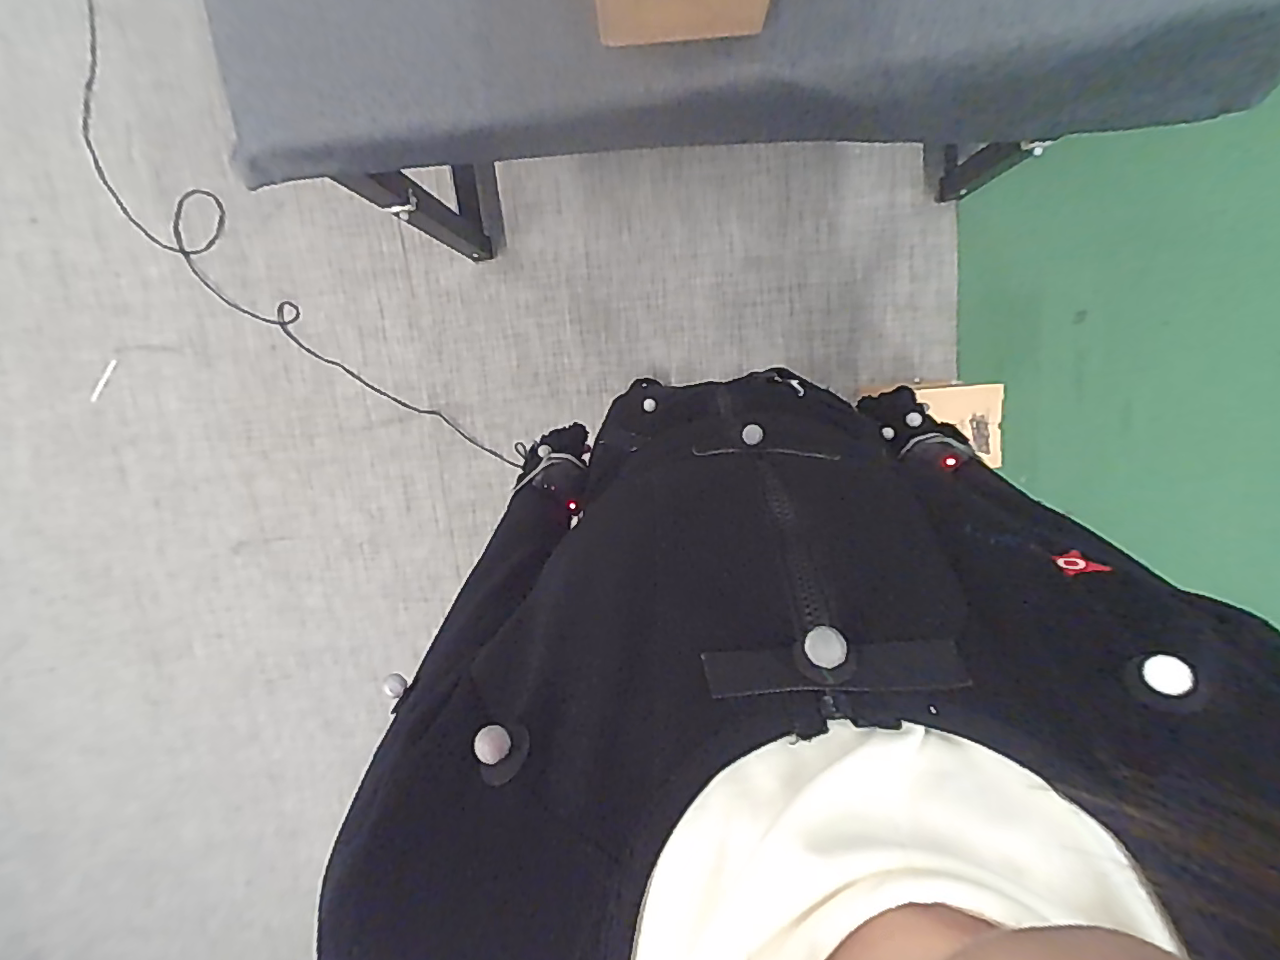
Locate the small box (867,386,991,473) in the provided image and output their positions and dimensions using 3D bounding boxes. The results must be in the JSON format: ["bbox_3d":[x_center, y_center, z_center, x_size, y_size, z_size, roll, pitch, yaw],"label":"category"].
[{"bbox_3d":[0.600,-0.111,1.142,0.179,0.176,0.168,-3,99,4],"label":"small box"}]

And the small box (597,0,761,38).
[{"bbox_3d":[0.038,-0.553,0.502,0.179,0.176,0.168,-2,100,3],"label":"small box"}]

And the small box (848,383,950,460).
[{"bbox_3d":[0.618,-0.143,1.303,0.179,0.176,0.168,-5,99,5],"label":"small box"}]
